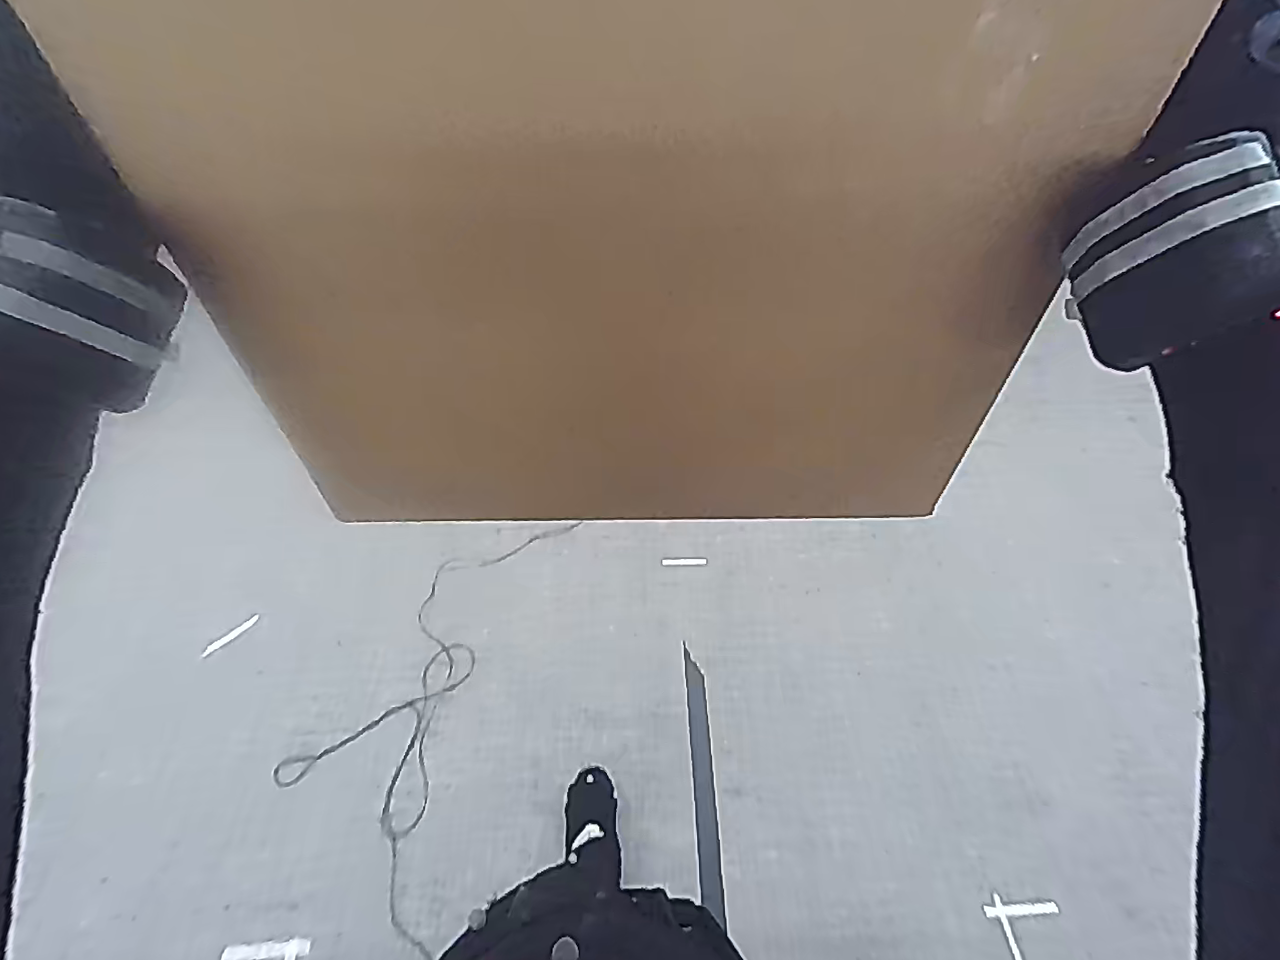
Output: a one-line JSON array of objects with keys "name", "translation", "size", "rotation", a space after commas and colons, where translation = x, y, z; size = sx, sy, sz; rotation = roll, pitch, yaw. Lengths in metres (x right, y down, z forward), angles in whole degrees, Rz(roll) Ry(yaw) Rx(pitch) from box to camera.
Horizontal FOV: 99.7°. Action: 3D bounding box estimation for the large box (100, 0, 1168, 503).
[{"name": "large box", "translation": [-0.004, -0.196, 0.381], "size": [0.408, 0.320, 0.320], "rotation": [0, 45, -1]}]
